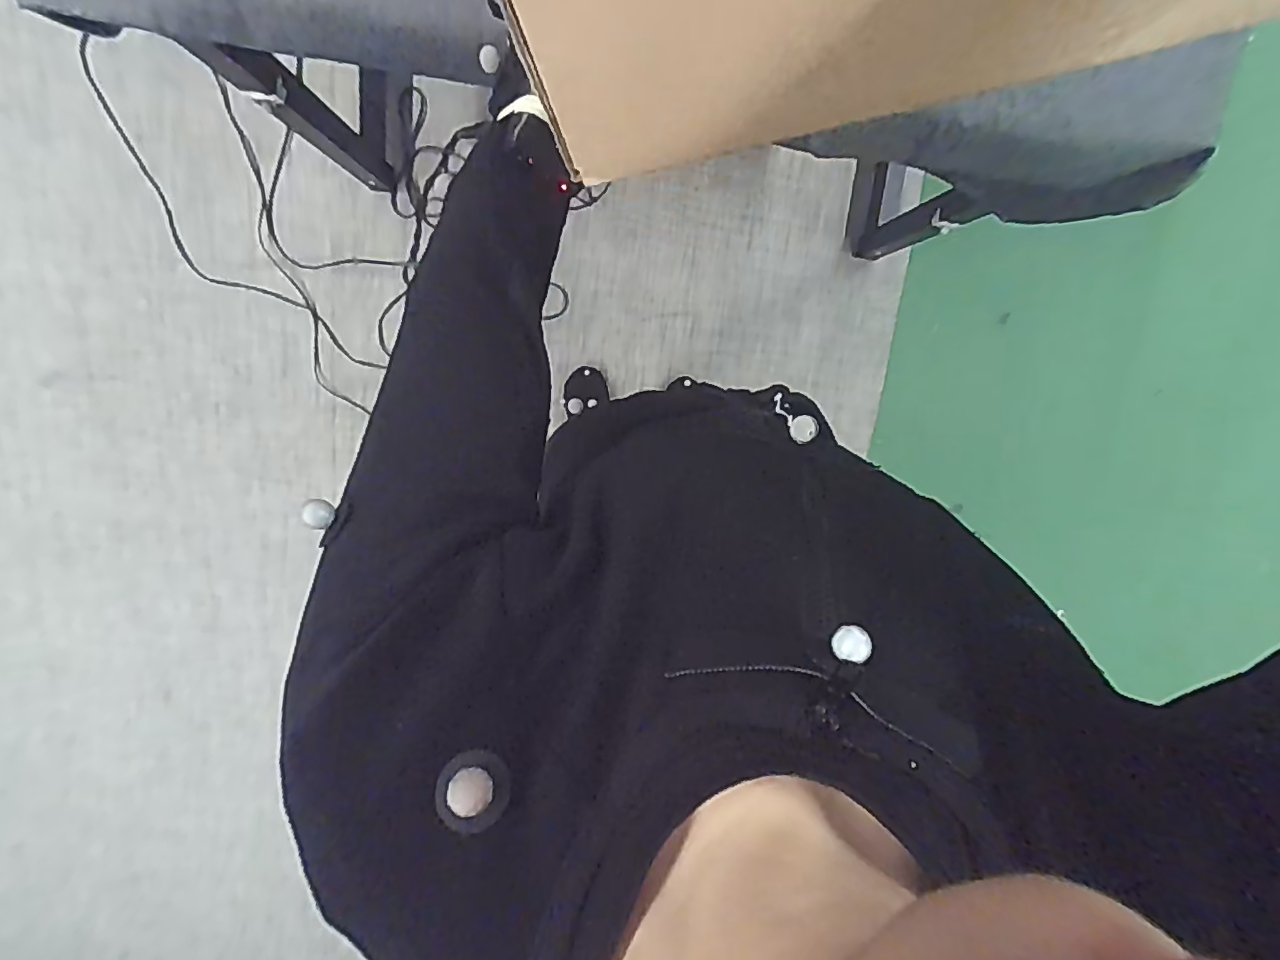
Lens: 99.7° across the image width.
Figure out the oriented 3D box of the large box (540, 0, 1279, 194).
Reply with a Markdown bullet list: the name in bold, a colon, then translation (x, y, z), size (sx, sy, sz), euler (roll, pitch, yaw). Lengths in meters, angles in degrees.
- **large box**: translation (0.129, -0.380, 0.191), size (0.408, 0.320, 0.320), euler (-9, 63, 12)
